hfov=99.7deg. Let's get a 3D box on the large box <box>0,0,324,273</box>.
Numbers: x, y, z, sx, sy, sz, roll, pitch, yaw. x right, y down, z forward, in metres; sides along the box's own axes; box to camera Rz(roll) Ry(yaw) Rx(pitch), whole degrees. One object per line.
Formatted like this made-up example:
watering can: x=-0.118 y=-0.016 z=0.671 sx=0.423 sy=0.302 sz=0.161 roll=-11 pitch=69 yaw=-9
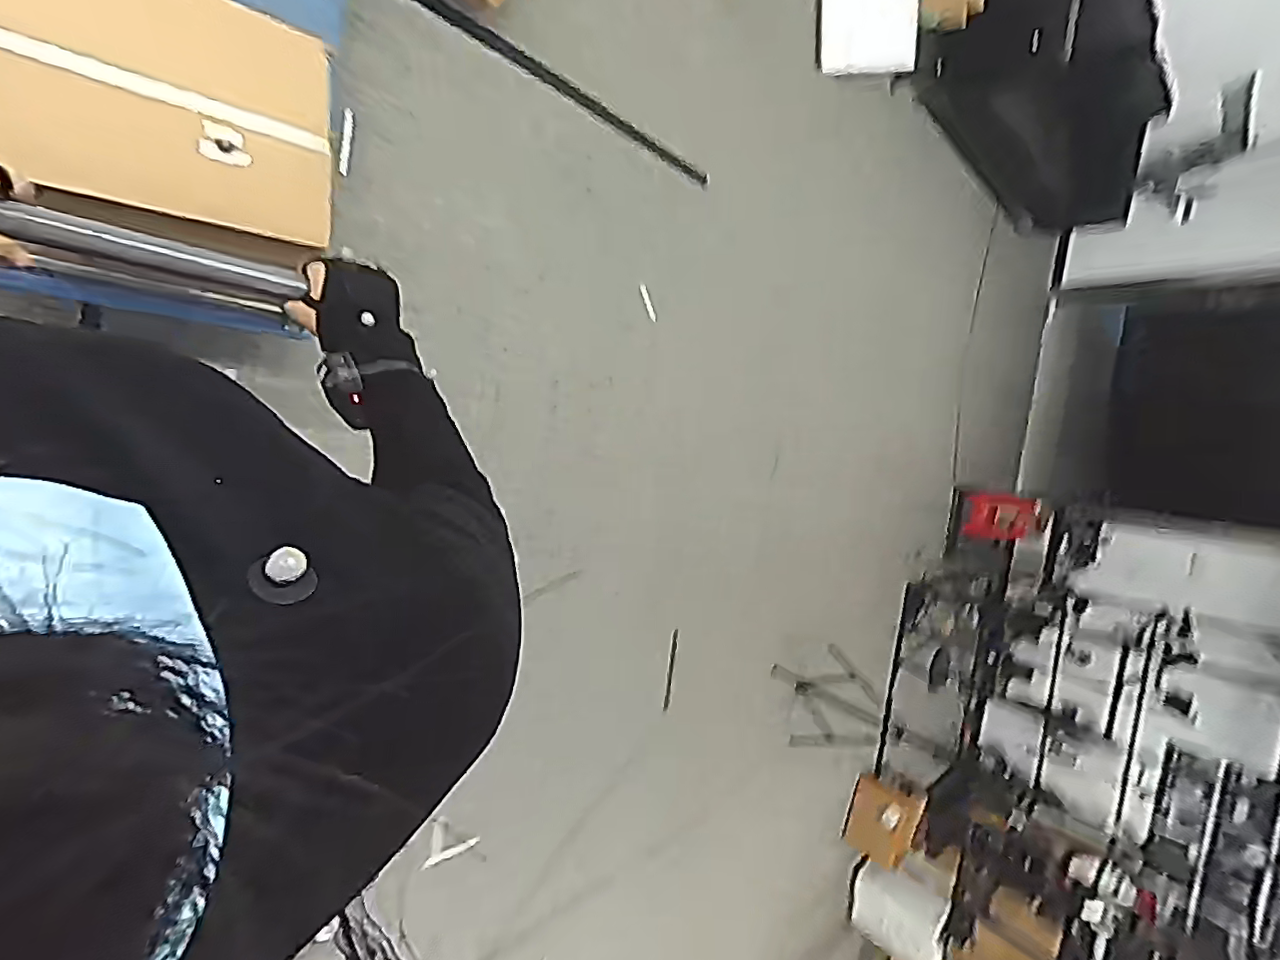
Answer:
large box: x=-0.763 y=-0.542 z=0.843 sx=0.408 sy=0.320 sz=0.320 roll=-3 pitch=101 yaw=-44
